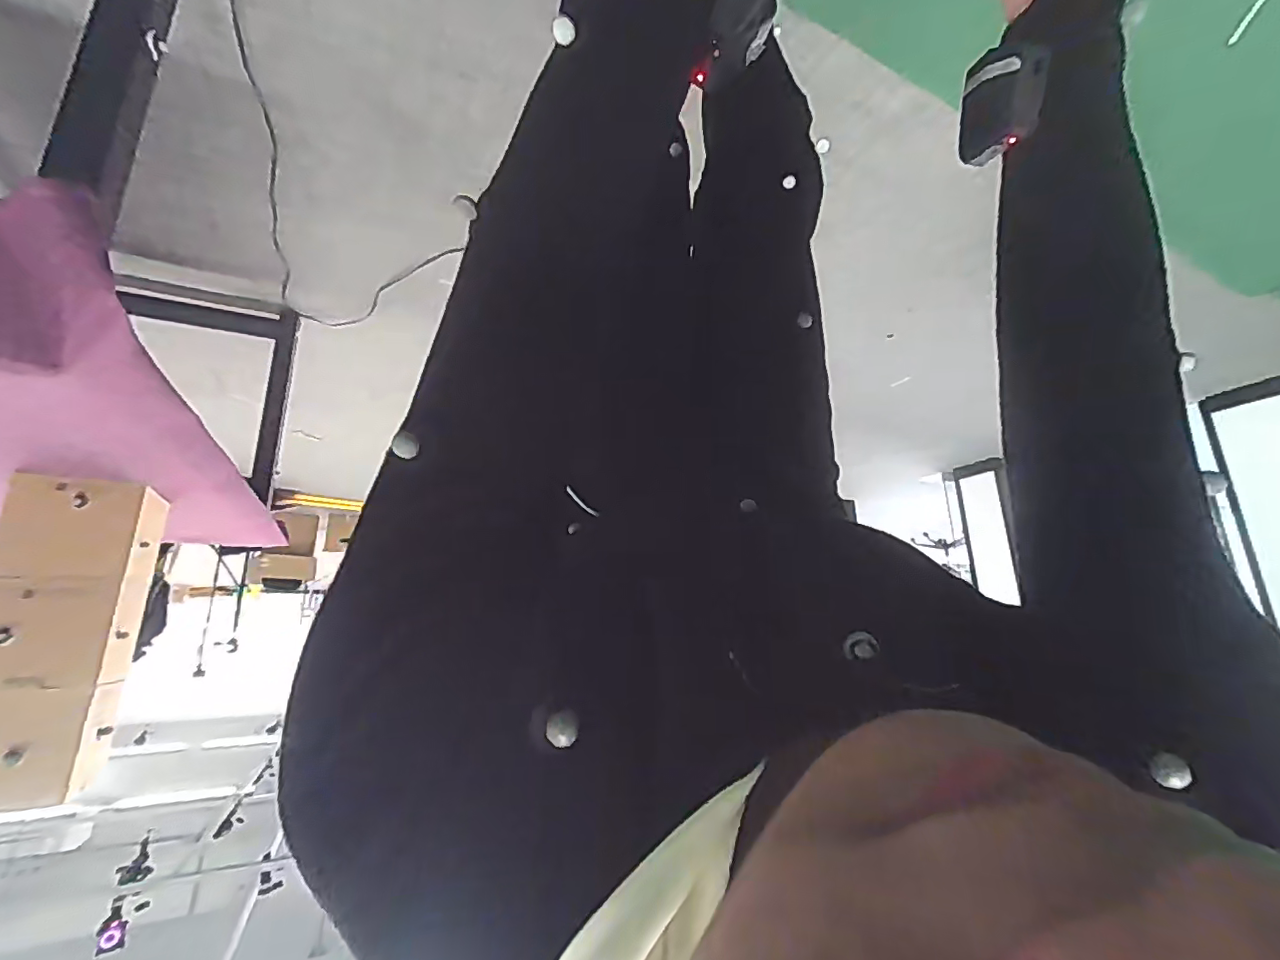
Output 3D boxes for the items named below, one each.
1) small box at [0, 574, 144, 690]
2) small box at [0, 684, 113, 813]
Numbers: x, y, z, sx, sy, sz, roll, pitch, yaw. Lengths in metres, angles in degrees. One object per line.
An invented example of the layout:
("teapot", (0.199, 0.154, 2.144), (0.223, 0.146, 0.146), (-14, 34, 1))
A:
("small box", (-0.957, 0.248, 0.885), (0.168, 0.176, 0.179), (9, 161, -29))
("small box", (-0.961, 0.404, 0.835), (0.179, 0.176, 0.168), (8, 160, -29))
